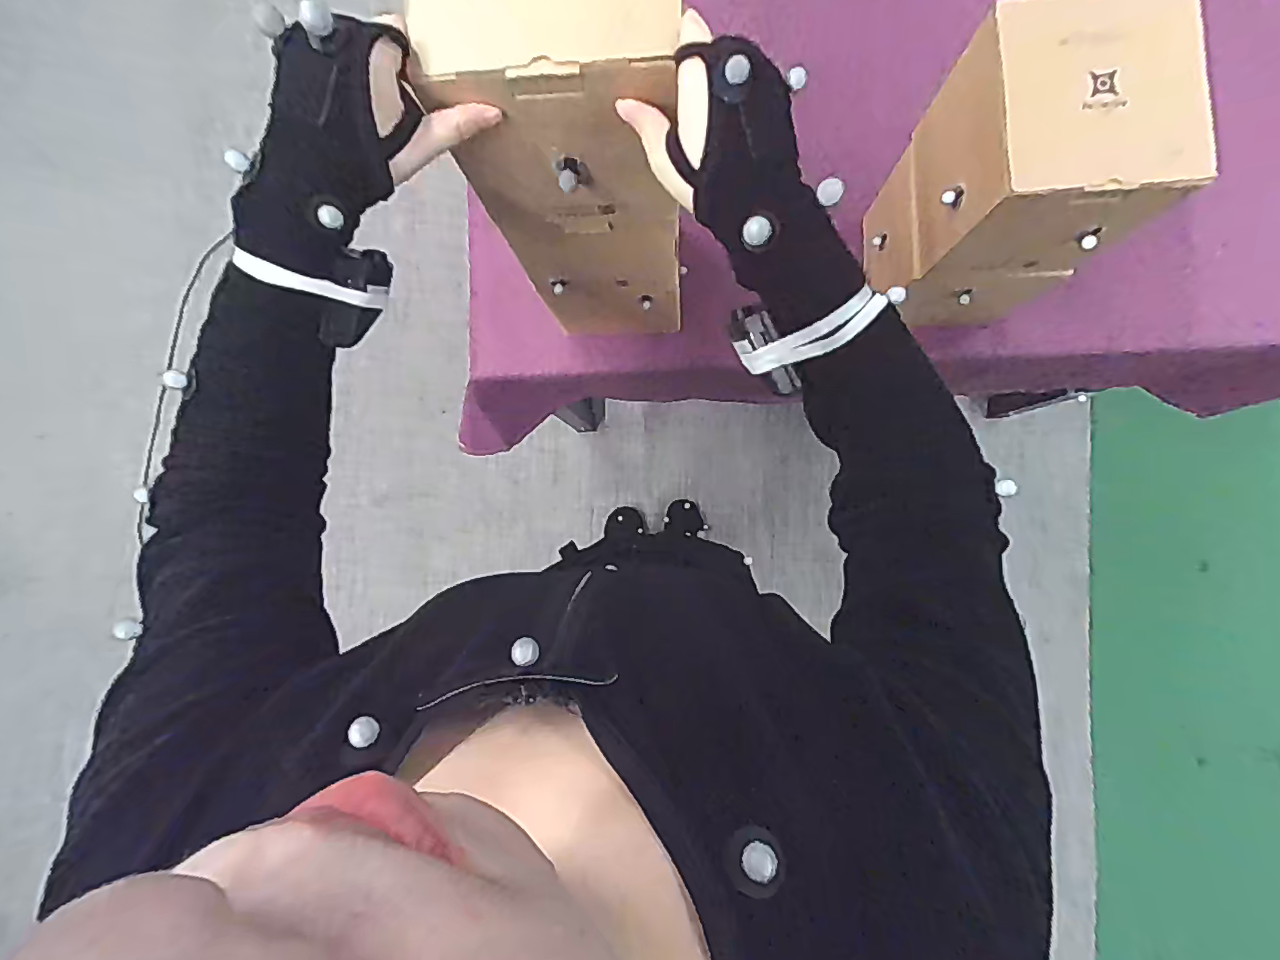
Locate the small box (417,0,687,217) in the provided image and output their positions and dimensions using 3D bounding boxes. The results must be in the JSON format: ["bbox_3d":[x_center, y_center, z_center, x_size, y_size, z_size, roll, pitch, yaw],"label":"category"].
[{"bbox_3d":[-0.048,-0.317,0.404,0.168,0.176,0.179,-1,88,2],"label":"small box"}]

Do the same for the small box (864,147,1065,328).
[{"bbox_3d":[0.403,-0.303,0.702,0.179,0.176,0.168,1,88,4],"label":"small box"}]

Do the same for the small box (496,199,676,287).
[{"bbox_3d":[-0.045,-0.315,0.569,0.168,0.176,0.179,-1,85,3],"label":"small box"}]

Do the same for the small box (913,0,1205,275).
[{"bbox_3d":[0.393,-0.318,0.540,0.168,0.176,0.179,-1,86,3],"label":"small box"}]

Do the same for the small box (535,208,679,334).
[{"bbox_3d":[-0.036,-0.304,0.732,0.179,0.176,0.168,-1,87,3],"label":"small box"}]
